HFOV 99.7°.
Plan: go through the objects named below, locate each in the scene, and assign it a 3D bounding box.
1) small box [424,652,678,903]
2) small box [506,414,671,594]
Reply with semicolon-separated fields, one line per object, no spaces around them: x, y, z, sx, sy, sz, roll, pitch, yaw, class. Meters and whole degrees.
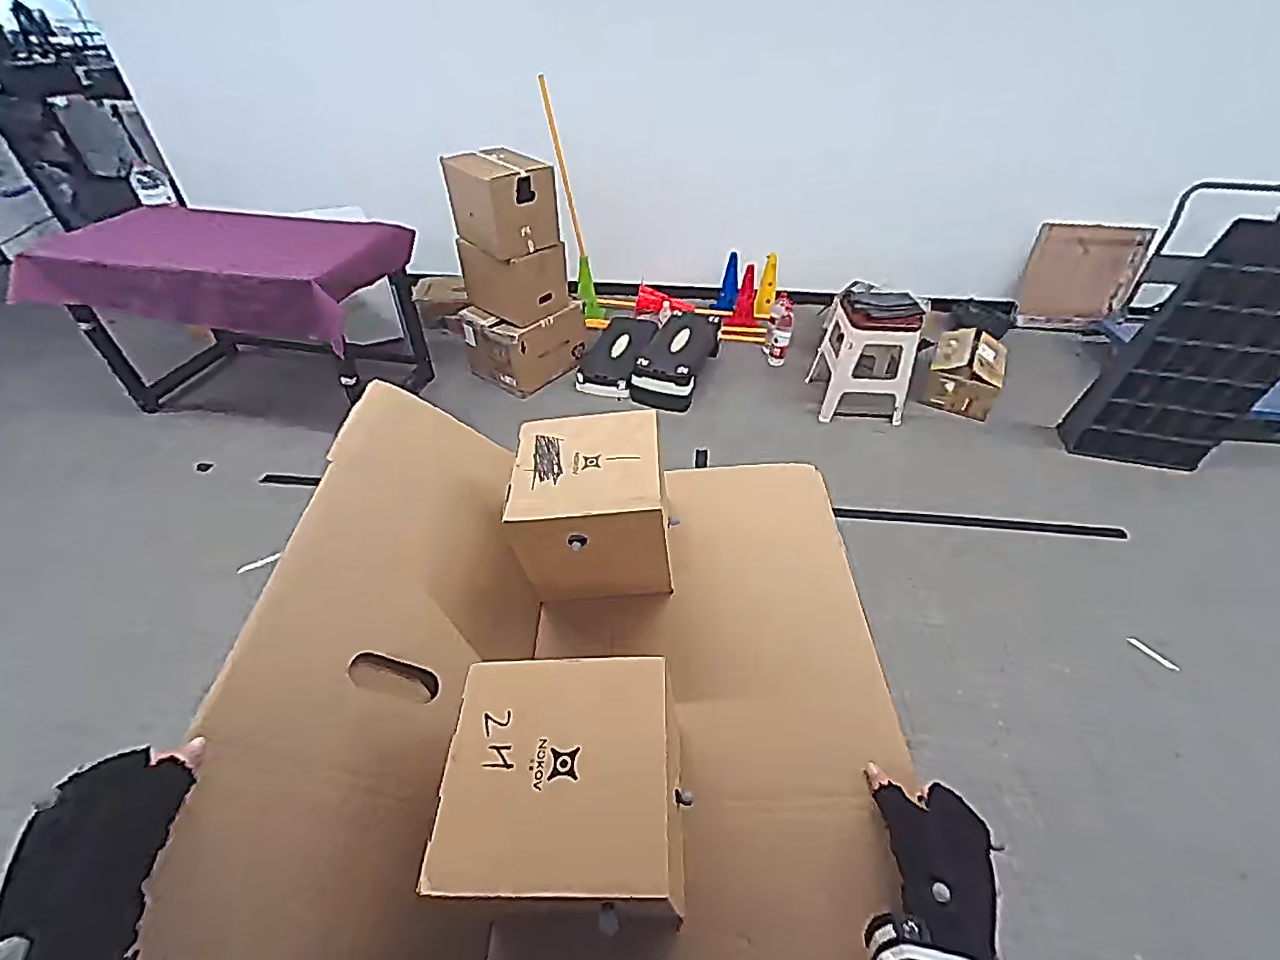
-0.057;0.269;0.490;0.179;0.176;0.168;-4;47;7;small box
-0.055;0.036;0.707;0.179;0.176;0.168;-5;47;4;small box
